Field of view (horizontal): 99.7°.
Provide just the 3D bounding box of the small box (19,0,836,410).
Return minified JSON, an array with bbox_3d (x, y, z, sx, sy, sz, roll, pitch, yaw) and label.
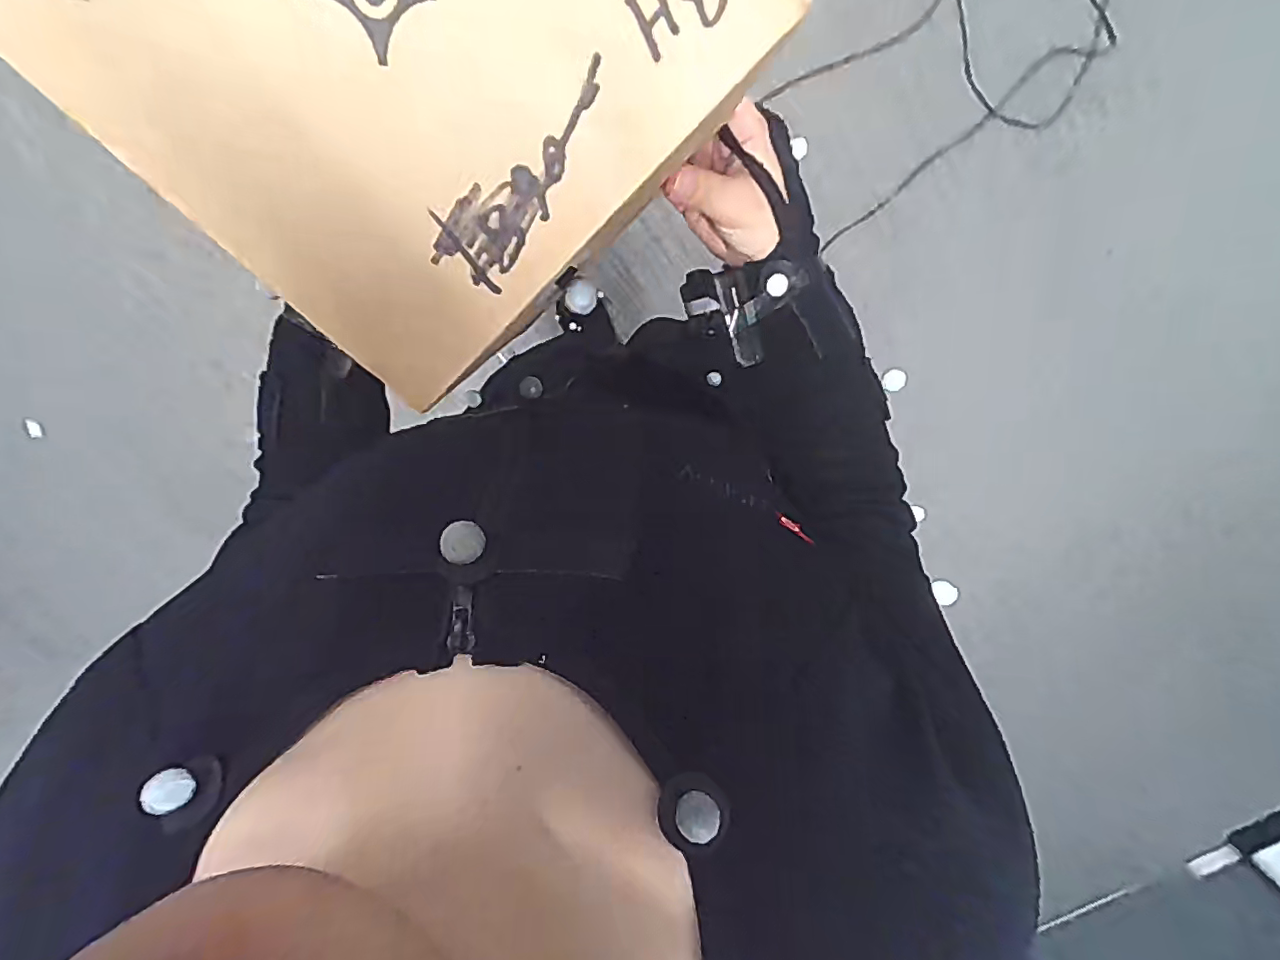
[{"bbox_3d":[-0.061,-0.161,0.223,0.168,0.176,0.179,-40,109,15],"label":"small box"}]
